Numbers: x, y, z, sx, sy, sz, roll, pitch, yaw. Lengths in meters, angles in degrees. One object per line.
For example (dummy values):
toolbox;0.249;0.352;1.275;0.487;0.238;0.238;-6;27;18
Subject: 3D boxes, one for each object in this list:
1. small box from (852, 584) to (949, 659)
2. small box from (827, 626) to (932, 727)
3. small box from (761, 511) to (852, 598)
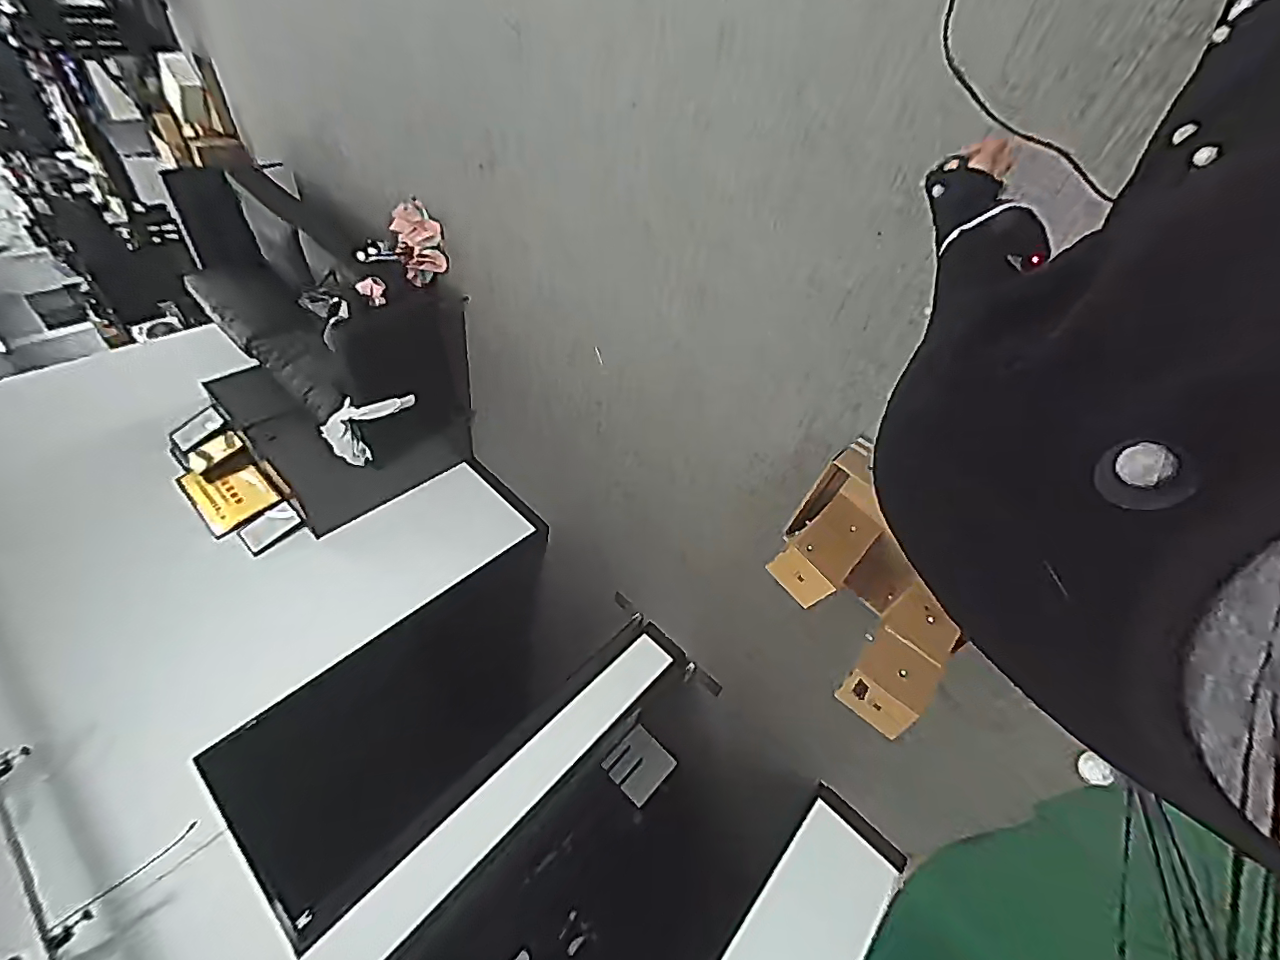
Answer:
small box;0.757;0.440;1.565;0.168;0.176;0.179;38;140;21
small box;0.651;0.524;1.471;0.179;0.176;0.168;36;141;23
small box;0.518;0.228;1.675;0.179;0.176;0.168;47;143;11
